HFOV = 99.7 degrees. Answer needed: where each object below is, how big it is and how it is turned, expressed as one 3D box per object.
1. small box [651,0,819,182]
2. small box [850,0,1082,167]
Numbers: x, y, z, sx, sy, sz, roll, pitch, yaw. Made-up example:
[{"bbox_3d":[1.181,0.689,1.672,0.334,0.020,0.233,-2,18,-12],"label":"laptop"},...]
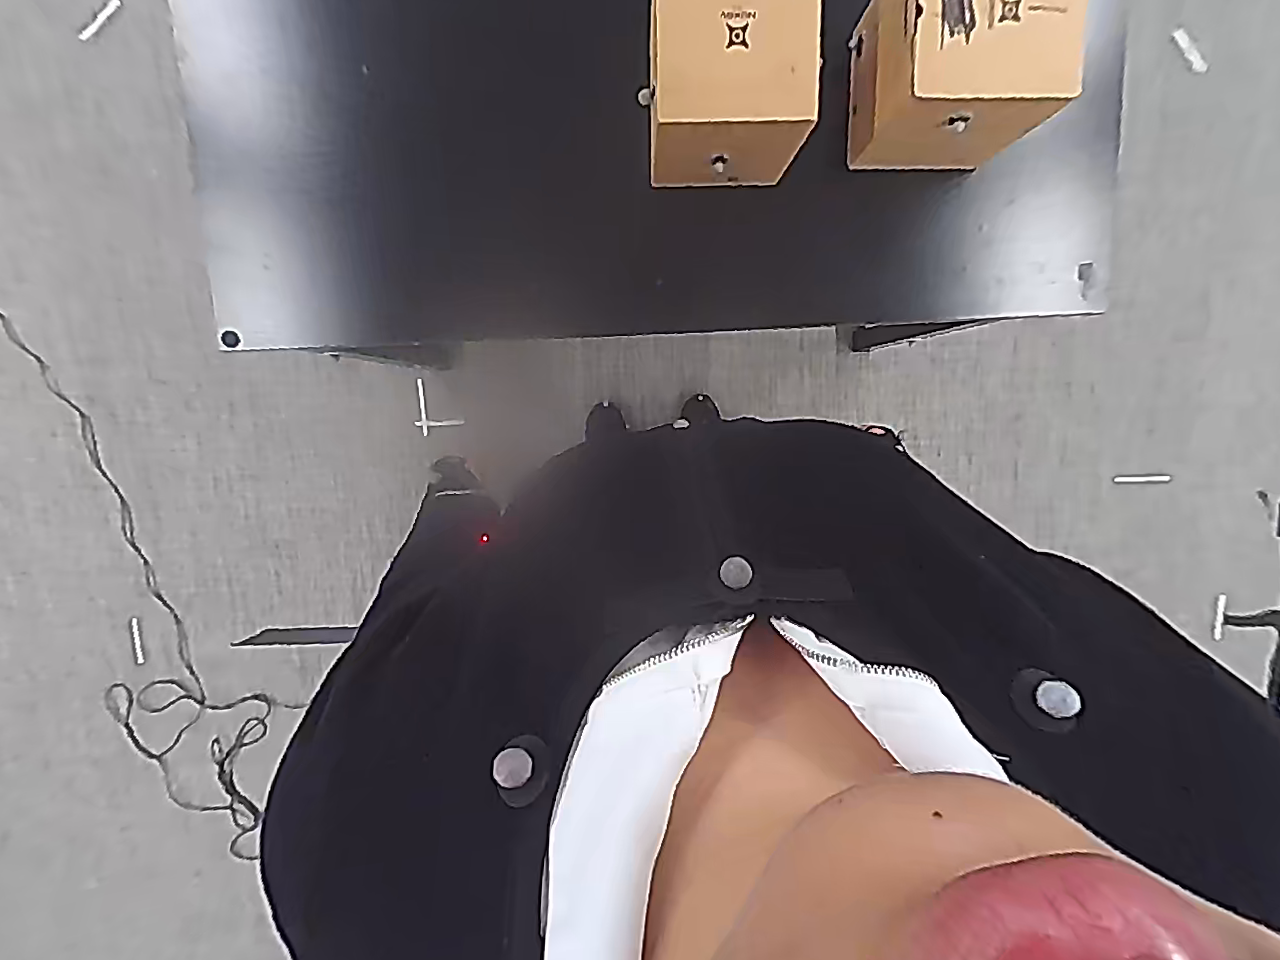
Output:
[{"bbox_3d":[0.099,-0.467,0.627,0.168,0.176,0.179,-1,98,-1],"label":"small box"},{"bbox_3d":[0.360,-0.485,0.627,0.179,0.176,0.168,0,98,-1],"label":"small box"}]
